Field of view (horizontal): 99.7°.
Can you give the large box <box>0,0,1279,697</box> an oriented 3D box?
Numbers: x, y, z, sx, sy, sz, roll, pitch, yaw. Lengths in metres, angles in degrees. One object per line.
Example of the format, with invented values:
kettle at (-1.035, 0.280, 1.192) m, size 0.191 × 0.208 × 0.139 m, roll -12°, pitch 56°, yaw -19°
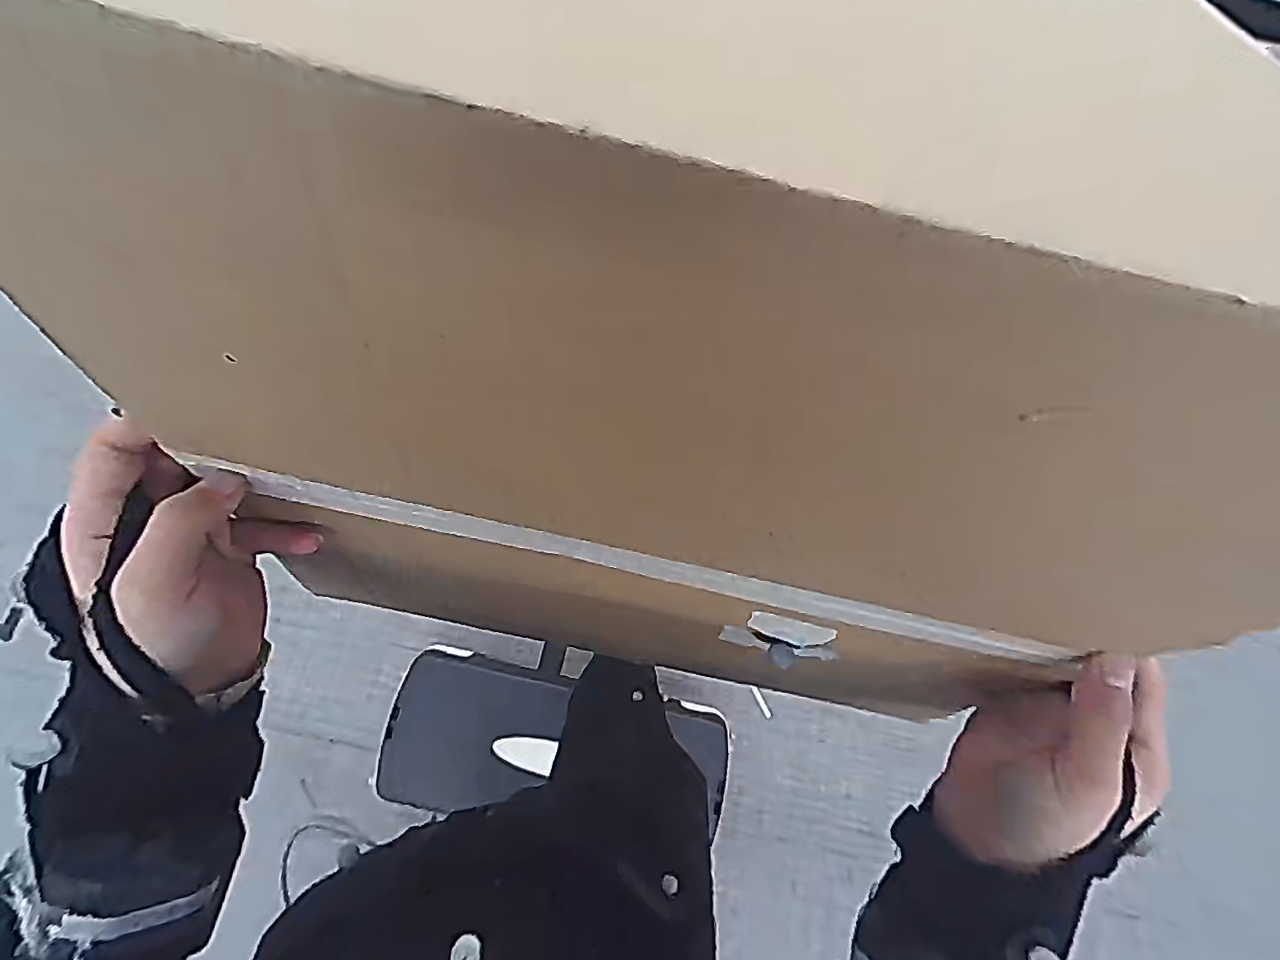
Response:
large box at (0.036, -0.097, 0.320) m, size 0.408 × 0.320 × 0.320 m, roll 12°, pitch 57°, yaw -3°
